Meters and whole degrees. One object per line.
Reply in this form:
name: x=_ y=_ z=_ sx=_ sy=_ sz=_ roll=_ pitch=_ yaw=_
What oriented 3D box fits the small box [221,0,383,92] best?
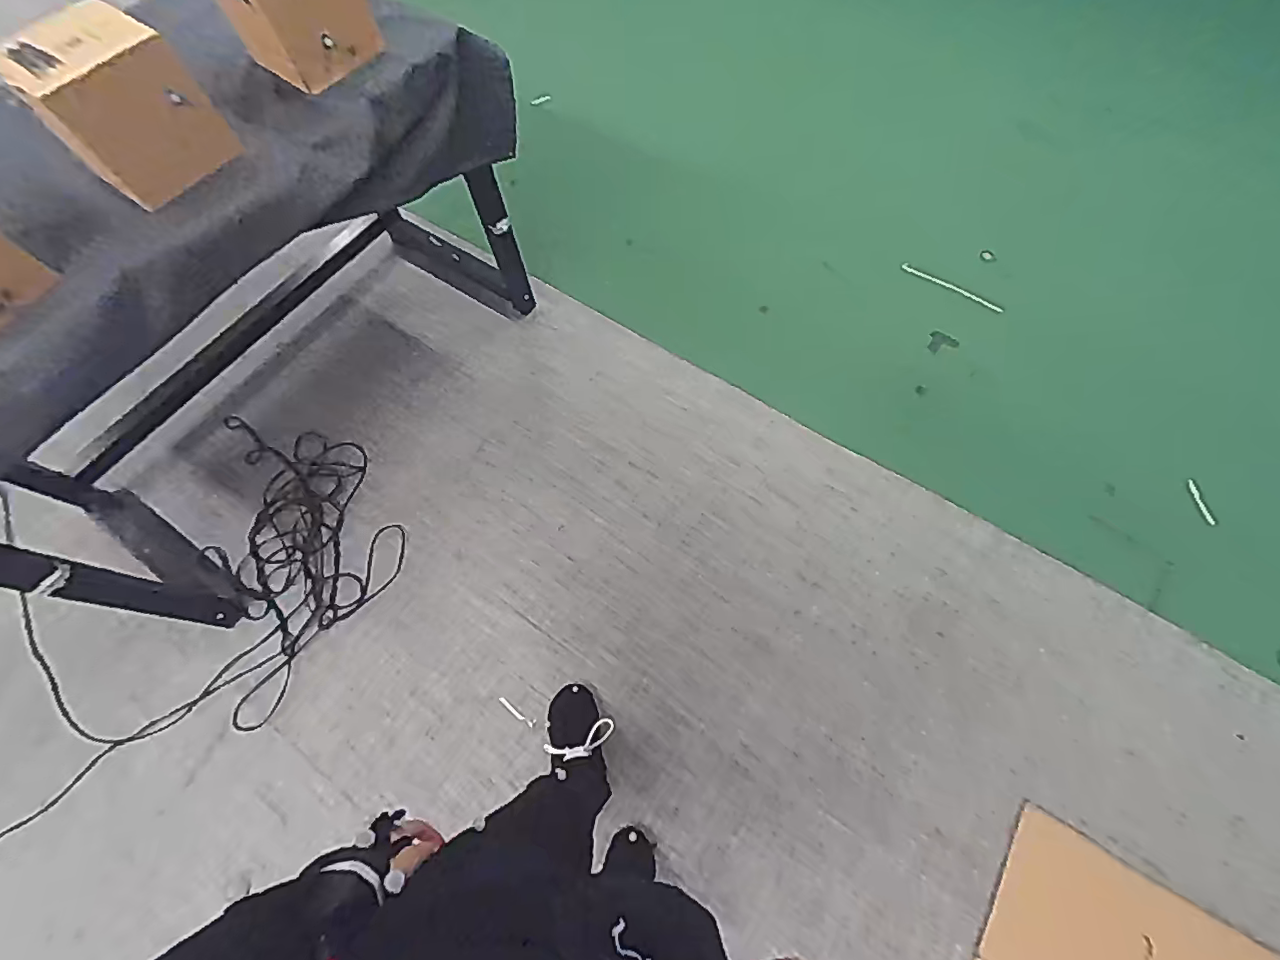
small box: x=-0.574 y=-0.789 z=0.895 sx=0.179 sy=0.176 sz=0.168 roll=36 pitch=73 yaw=16

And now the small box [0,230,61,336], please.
small box: x=-0.942 y=-0.290 z=0.697 sx=0.179 sy=0.176 sz=0.168 roll=25 pitch=71 yaw=12
